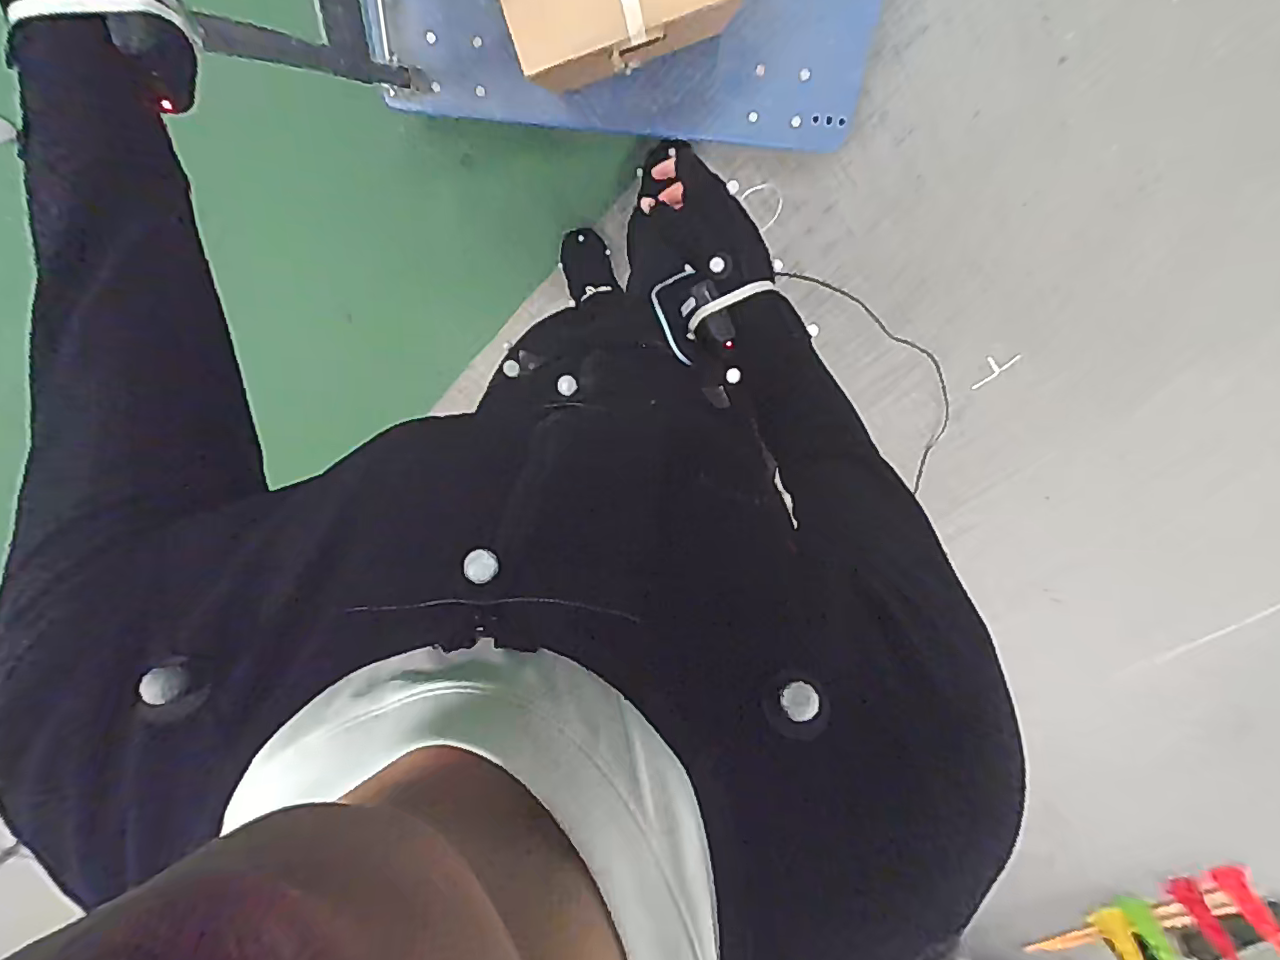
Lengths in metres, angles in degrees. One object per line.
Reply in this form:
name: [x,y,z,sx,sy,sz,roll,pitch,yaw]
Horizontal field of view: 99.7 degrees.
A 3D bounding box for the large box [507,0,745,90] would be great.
large box: [-0.049,-0.820,0.726,0.320,0.320,0.408,-13,120,9]
